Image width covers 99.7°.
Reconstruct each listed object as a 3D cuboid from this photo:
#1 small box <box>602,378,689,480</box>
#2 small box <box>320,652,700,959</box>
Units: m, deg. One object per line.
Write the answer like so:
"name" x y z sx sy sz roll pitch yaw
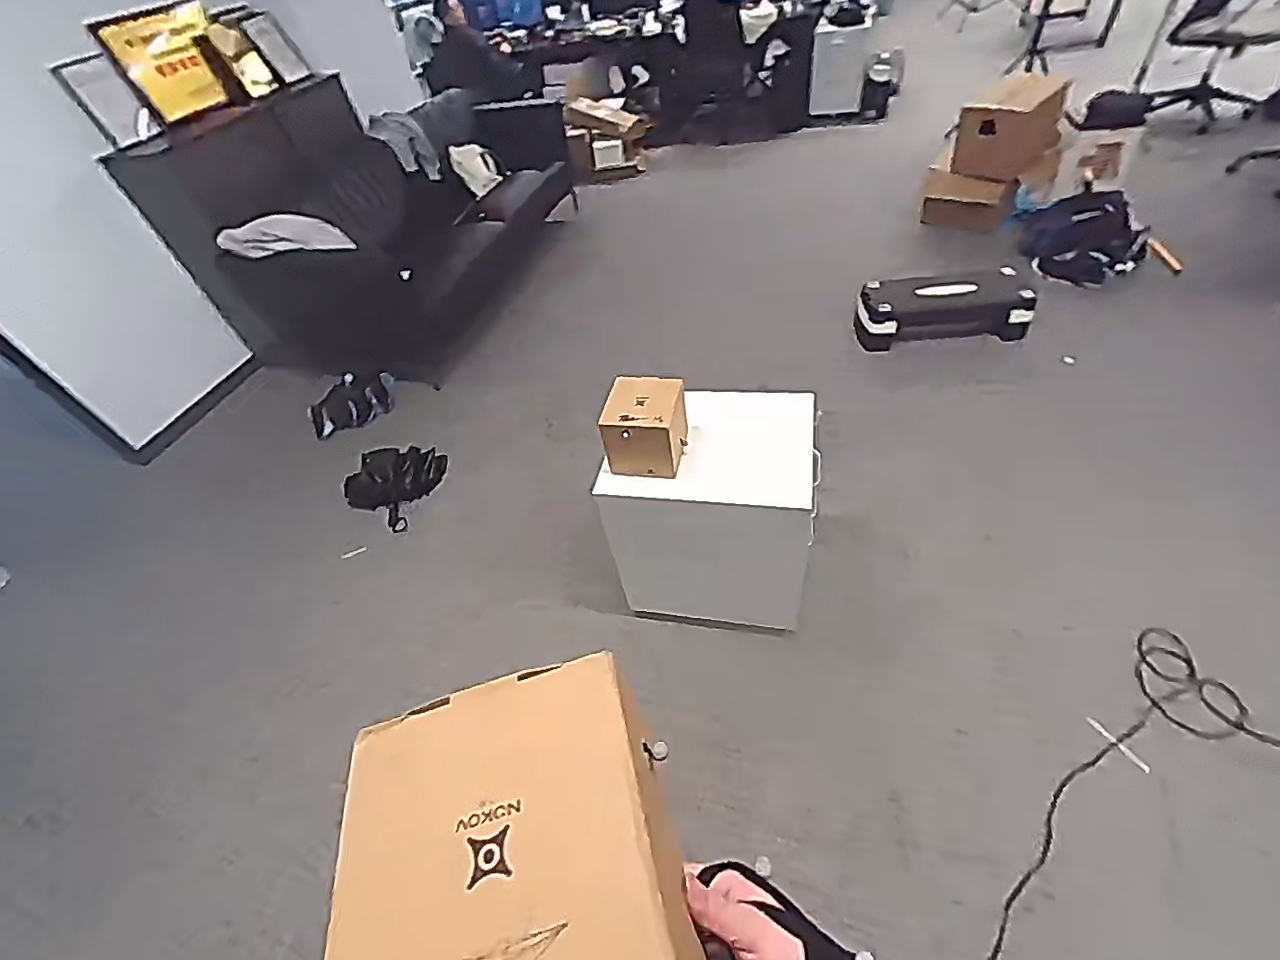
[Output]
"small box" 0.022 -0.125 1.305 0.168 0.176 0.179 5 48 16
"small box" -0.066 0.243 0.338 0.168 0.176 0.179 -17 46 -1
